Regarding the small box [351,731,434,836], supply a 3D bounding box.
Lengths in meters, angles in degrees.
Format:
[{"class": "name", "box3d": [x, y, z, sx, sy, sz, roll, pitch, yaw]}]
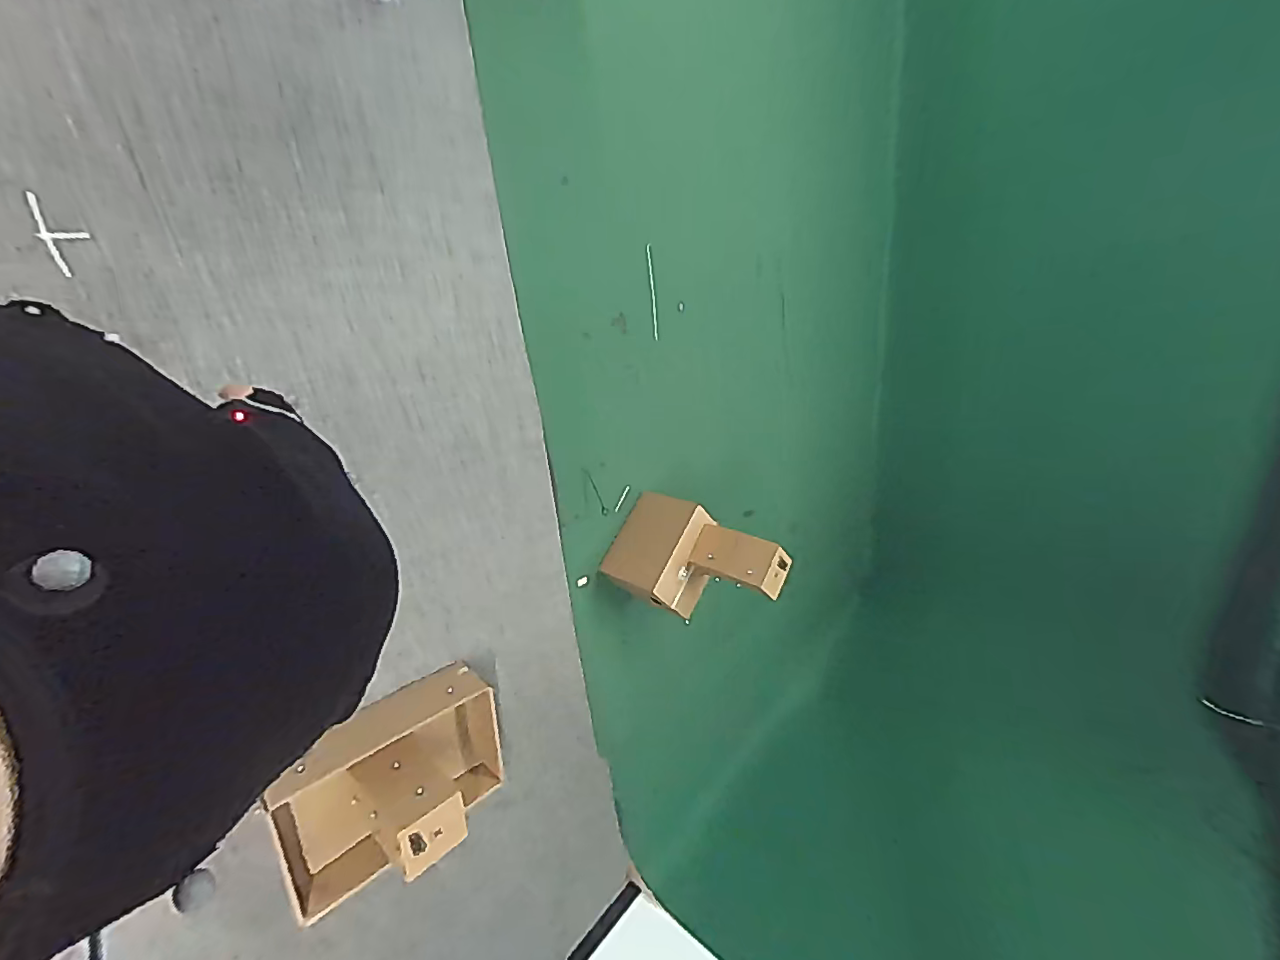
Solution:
[{"class": "small box", "box3d": [-0.713, 0.875, 1.582, 0.179, 0.176, 0.168, -20, 114, -44]}]

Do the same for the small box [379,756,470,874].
[{"class": "small box", "box3d": [-0.592, 0.903, 1.474, 0.179, 0.176, 0.168, -19, 114, -45]}]
